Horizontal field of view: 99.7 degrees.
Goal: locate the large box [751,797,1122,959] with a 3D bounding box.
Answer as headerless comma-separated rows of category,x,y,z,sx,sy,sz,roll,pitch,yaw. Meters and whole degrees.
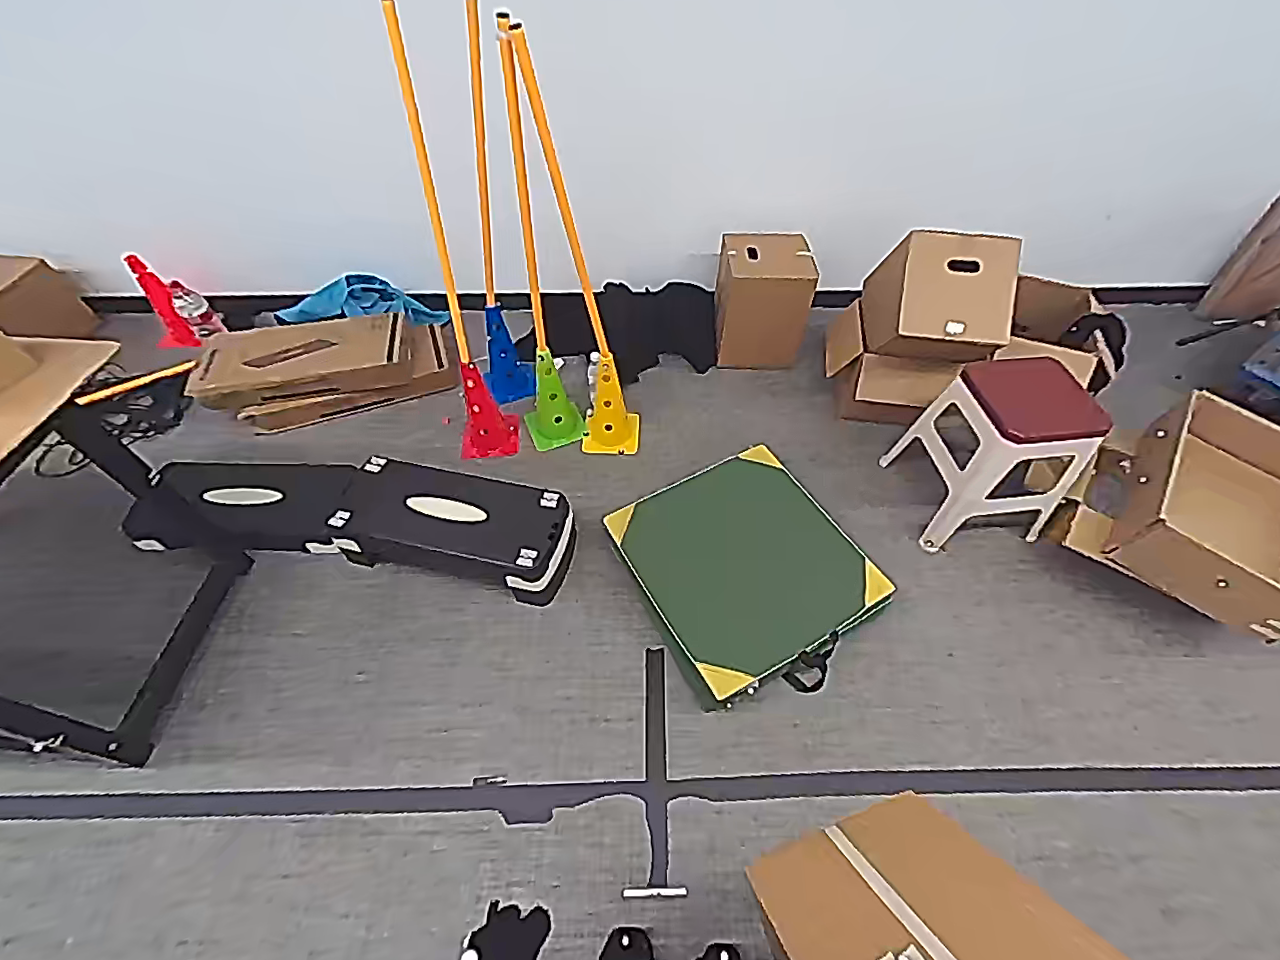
large box,0.393,0.707,0.689,0.320,0.408,0.320,-19,90,-9
